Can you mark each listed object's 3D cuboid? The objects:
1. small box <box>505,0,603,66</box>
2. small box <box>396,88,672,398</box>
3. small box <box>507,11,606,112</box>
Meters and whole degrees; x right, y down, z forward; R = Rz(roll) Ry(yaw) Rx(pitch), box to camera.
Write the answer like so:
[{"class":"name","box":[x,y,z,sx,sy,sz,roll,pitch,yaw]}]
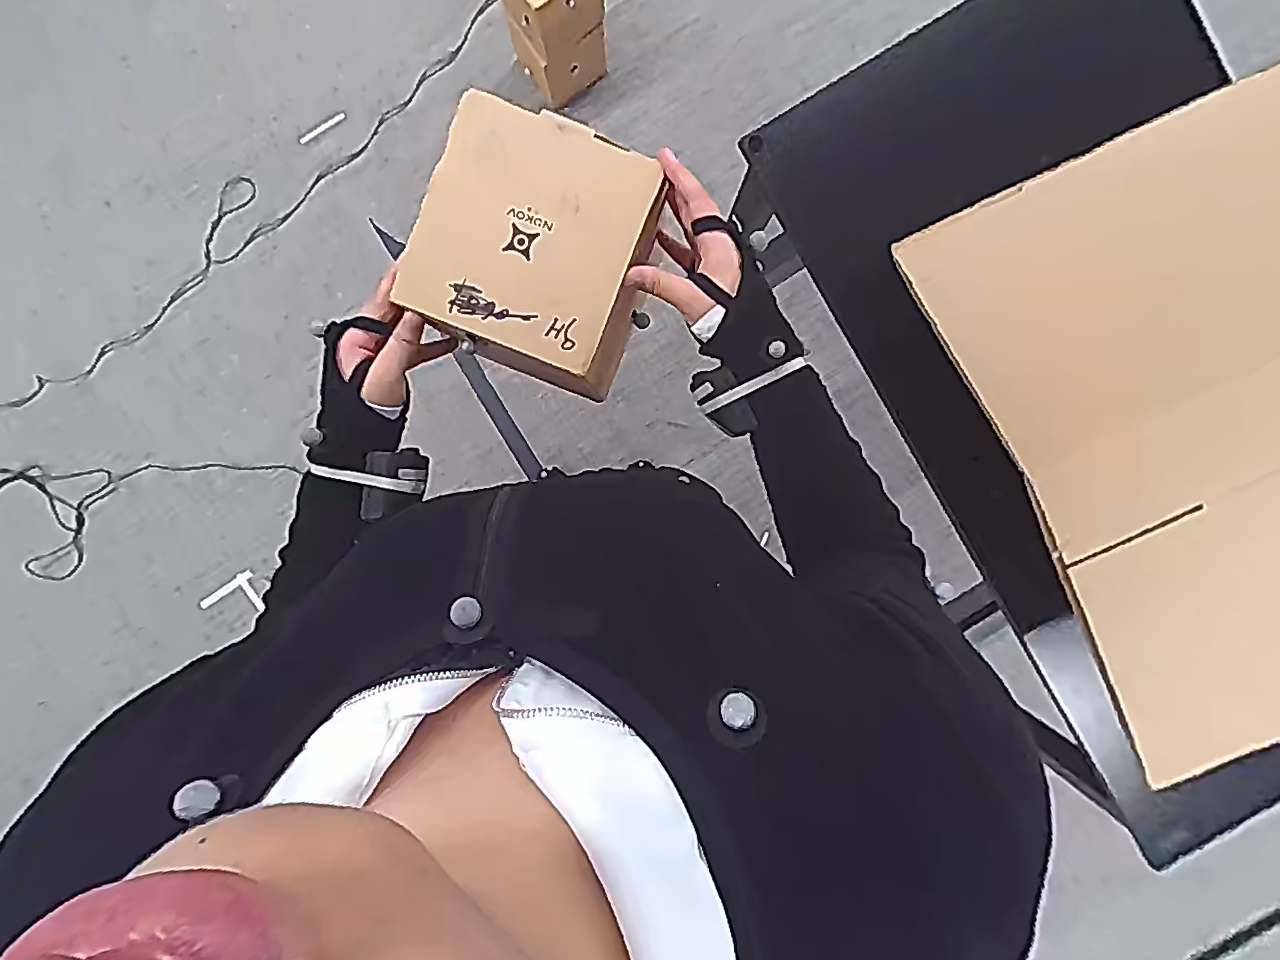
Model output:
[{"class":"small box","box":[-0.193,-1.070,1.180,0.179,0.176,0.168,-38,94,1]},{"class":"small box","box":[-0.082,-0.192,0.494,0.168,0.176,0.179,22,91,1]},{"class":"small box","box":[-0.198,-1.075,1.343,0.179,0.176,0.168,-35,93,2]}]
